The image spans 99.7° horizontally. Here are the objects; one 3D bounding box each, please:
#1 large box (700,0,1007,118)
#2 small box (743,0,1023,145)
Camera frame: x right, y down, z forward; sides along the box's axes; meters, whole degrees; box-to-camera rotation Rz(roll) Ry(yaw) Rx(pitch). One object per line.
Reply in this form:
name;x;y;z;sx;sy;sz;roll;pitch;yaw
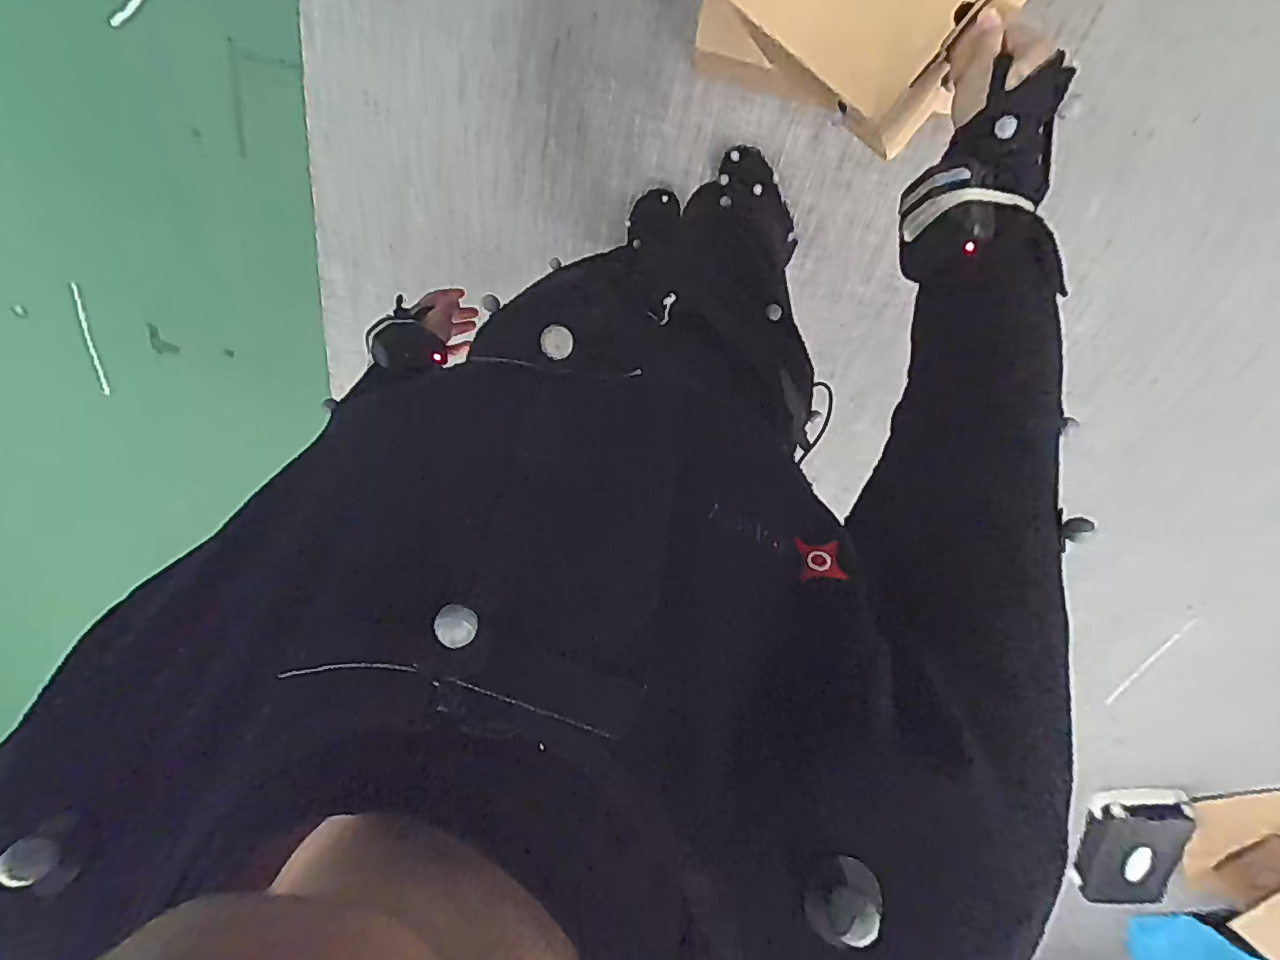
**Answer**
large box;0.321;-0.773;0.821;0.408;0.320;0.320;13;123;-3
small box;0.211;-0.421;0.459;0.179;0.176;0.168;44;122;4
